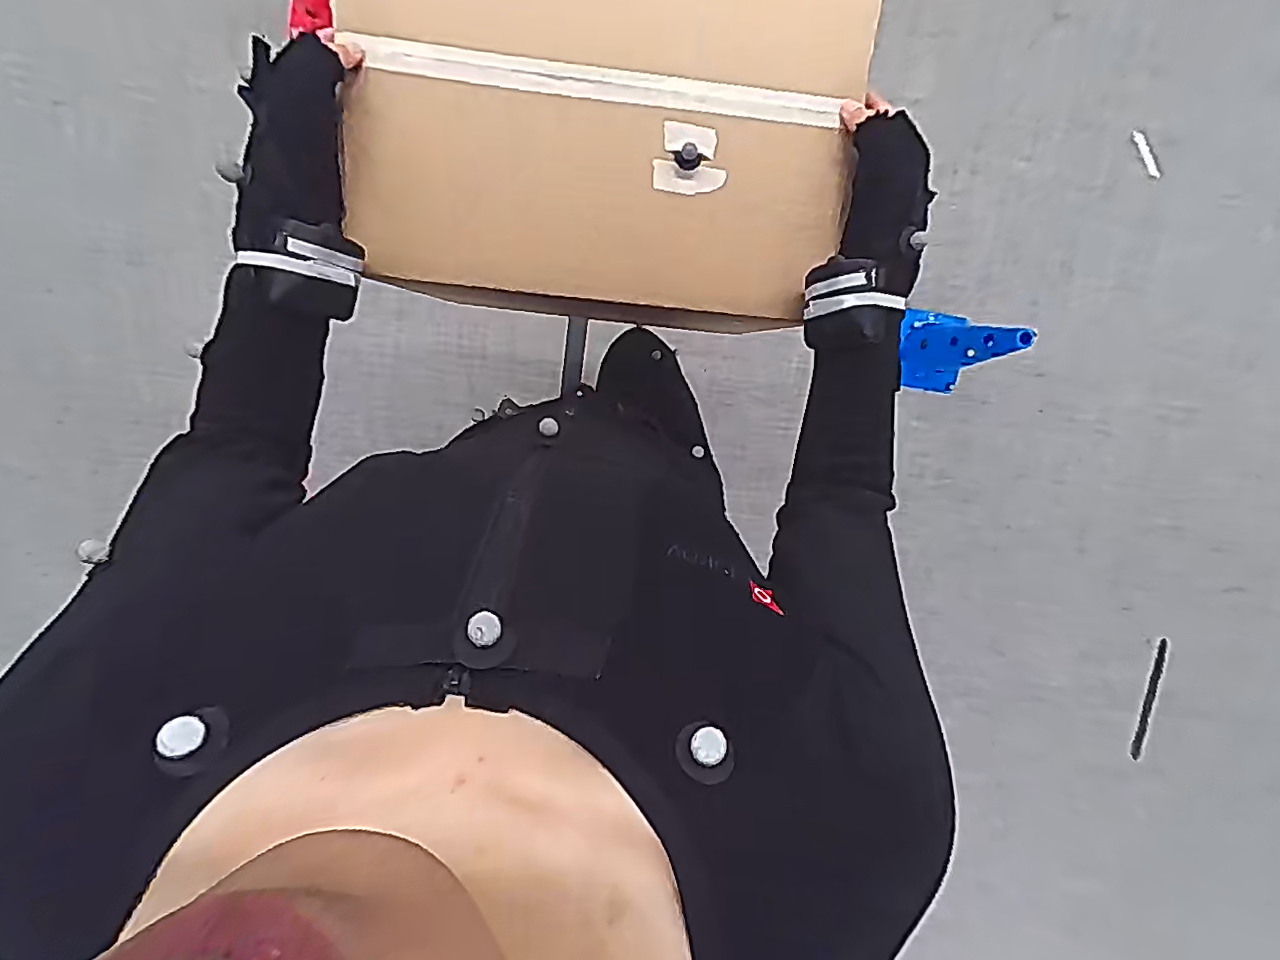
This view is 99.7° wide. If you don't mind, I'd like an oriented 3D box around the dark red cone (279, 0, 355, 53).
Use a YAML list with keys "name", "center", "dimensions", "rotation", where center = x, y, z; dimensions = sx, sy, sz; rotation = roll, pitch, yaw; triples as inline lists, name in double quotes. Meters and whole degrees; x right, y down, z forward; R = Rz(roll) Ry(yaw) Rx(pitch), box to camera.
- name: "dark red cone"
  center: [-0.698, -1.067, 1.066]
  dimensions: [0.201, 0.394, 0.202]
  rotation: [12, 99, -5]

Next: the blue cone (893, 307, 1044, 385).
- name: "blue cone"
  center: [0.786, -0.331, 1.282]
  dimensions: [0.192, 0.380, 0.193]
  rotation: [9, 99, -5]

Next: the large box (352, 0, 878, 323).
- name: "large box"
  center: [-0.030, -0.347, 0.566]
  dimensions: [0.408, 0.320, 0.320]
  rotation: [4, 104, -5]
